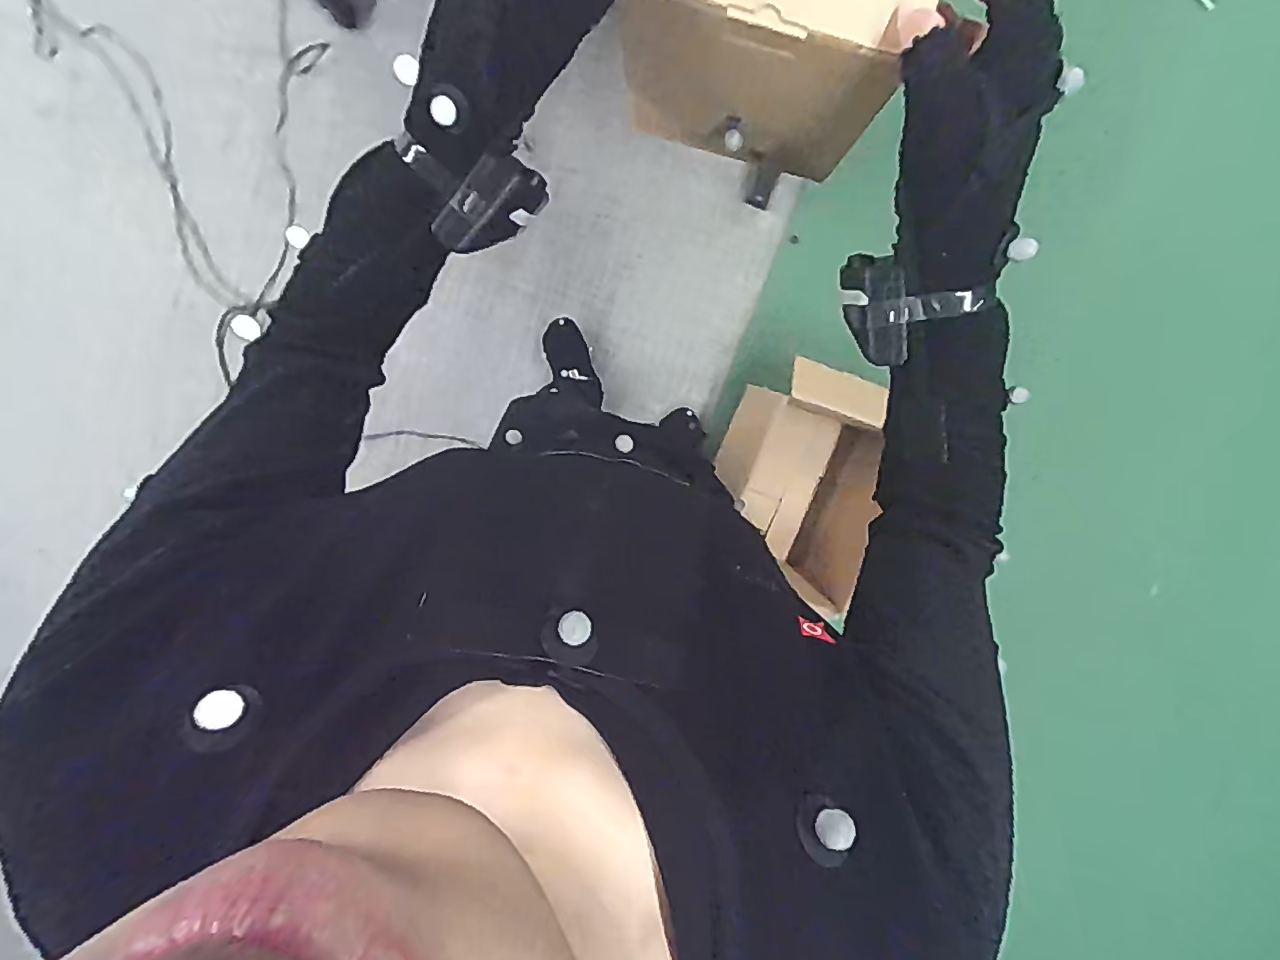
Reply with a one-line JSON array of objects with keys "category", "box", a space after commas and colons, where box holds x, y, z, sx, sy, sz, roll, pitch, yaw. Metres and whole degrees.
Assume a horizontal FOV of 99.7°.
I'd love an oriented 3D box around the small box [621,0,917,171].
[{"category": "small box", "box": [0.084, -0.342, 0.351, 0.168, 0.176, 0.179, 15, 99, 0]}]
